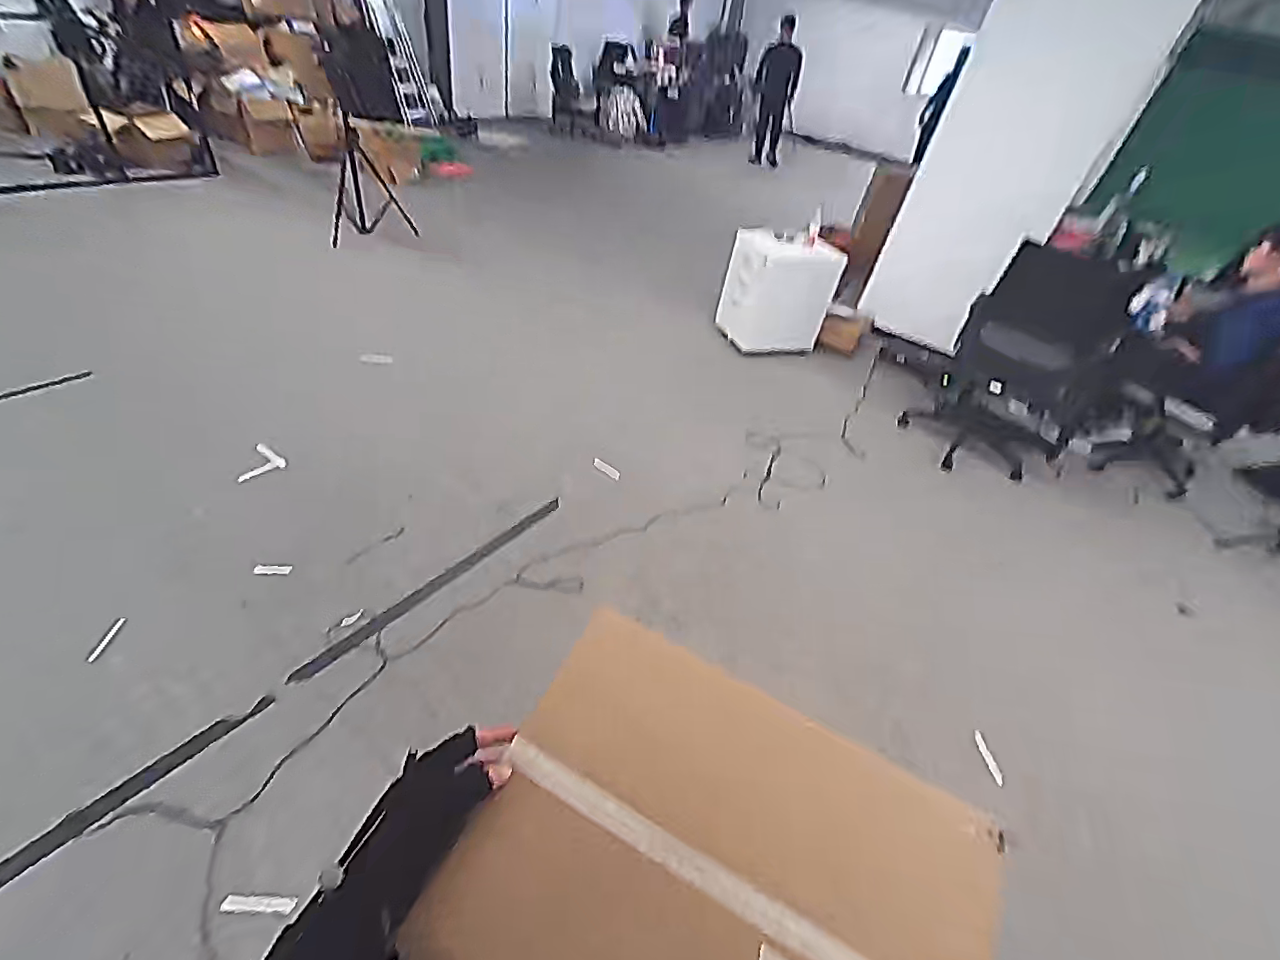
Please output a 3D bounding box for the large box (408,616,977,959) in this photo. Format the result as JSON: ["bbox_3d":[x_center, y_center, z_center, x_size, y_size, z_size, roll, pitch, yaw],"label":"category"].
[{"bbox_3d":[0.051,0.417,0.568,0.408,0.320,0.320,26,55,14],"label":"large box"}]
